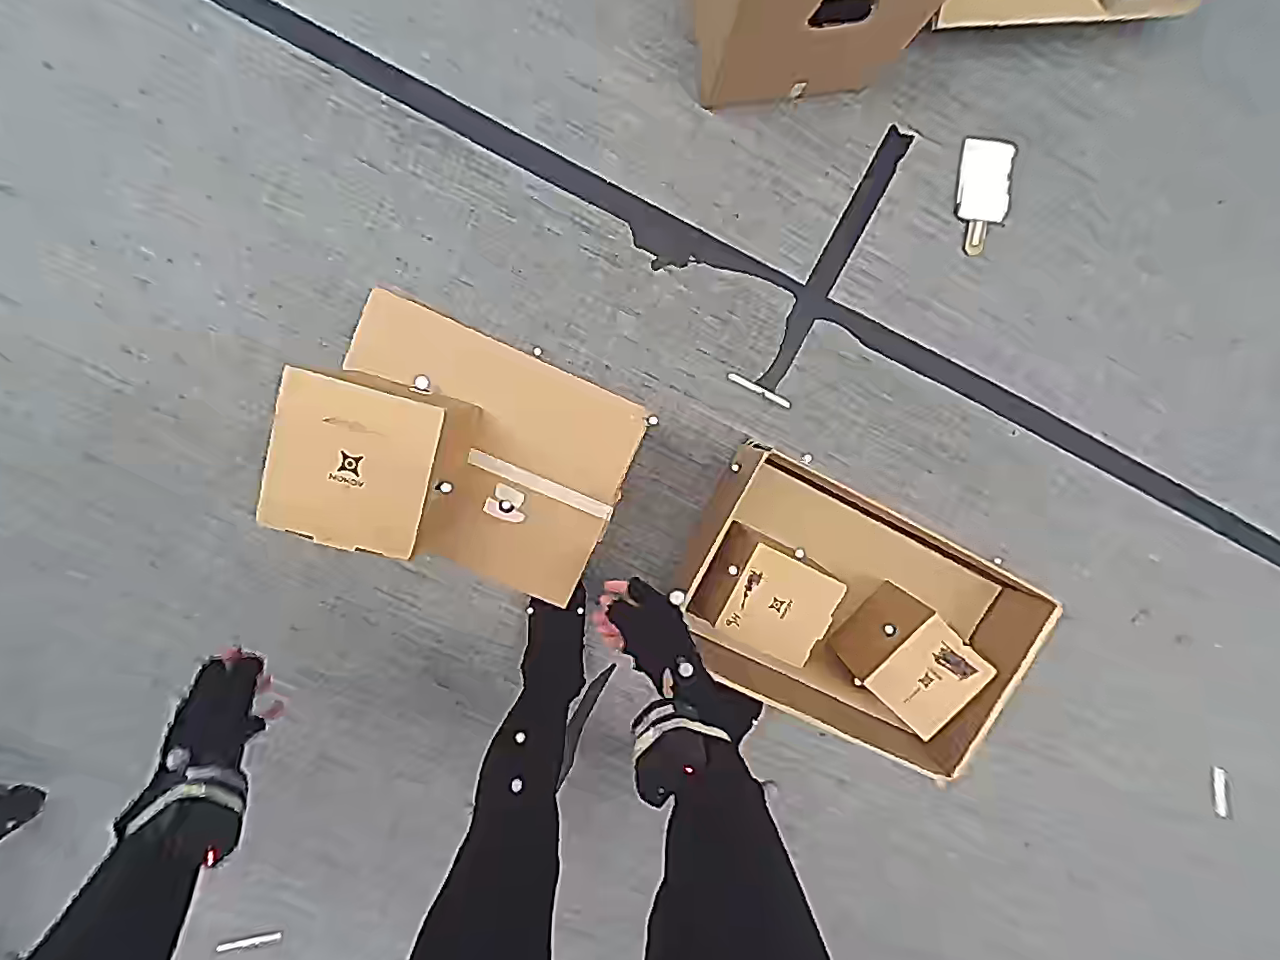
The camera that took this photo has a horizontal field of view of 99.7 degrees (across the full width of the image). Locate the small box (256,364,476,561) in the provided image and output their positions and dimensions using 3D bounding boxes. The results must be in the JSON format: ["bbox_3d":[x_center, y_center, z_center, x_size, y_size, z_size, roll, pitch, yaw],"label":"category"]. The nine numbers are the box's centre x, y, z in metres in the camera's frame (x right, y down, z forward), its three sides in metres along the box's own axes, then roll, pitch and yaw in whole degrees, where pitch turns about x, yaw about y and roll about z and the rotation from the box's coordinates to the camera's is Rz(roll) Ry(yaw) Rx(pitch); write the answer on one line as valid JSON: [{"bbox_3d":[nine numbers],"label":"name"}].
[{"bbox_3d":[-0.308,-0.026,0.642,0.168,0.176,0.179,15,97,-6],"label":"small box"}]

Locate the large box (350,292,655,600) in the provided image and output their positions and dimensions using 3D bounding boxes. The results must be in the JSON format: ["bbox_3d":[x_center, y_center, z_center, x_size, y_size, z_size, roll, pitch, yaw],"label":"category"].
[{"bbox_3d":[-0.229,-0.058,0.888,0.408,0.320,0.320,23,97,-7],"label":"large box"}]

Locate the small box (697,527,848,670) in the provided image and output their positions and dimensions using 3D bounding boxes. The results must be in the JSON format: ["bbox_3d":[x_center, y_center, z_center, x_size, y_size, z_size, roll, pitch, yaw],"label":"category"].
[{"bbox_3d":[0.225,0.199,0.964,0.179,0.176,0.168,27,94,-8],"label":"small box"}]

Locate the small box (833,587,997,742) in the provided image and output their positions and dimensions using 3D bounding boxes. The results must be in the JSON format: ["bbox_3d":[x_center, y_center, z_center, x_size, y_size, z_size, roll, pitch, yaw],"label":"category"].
[{"bbox_3d":[0.493,0.328,0.998,0.168,0.176,0.179,43,94,-7],"label":"small box"}]
